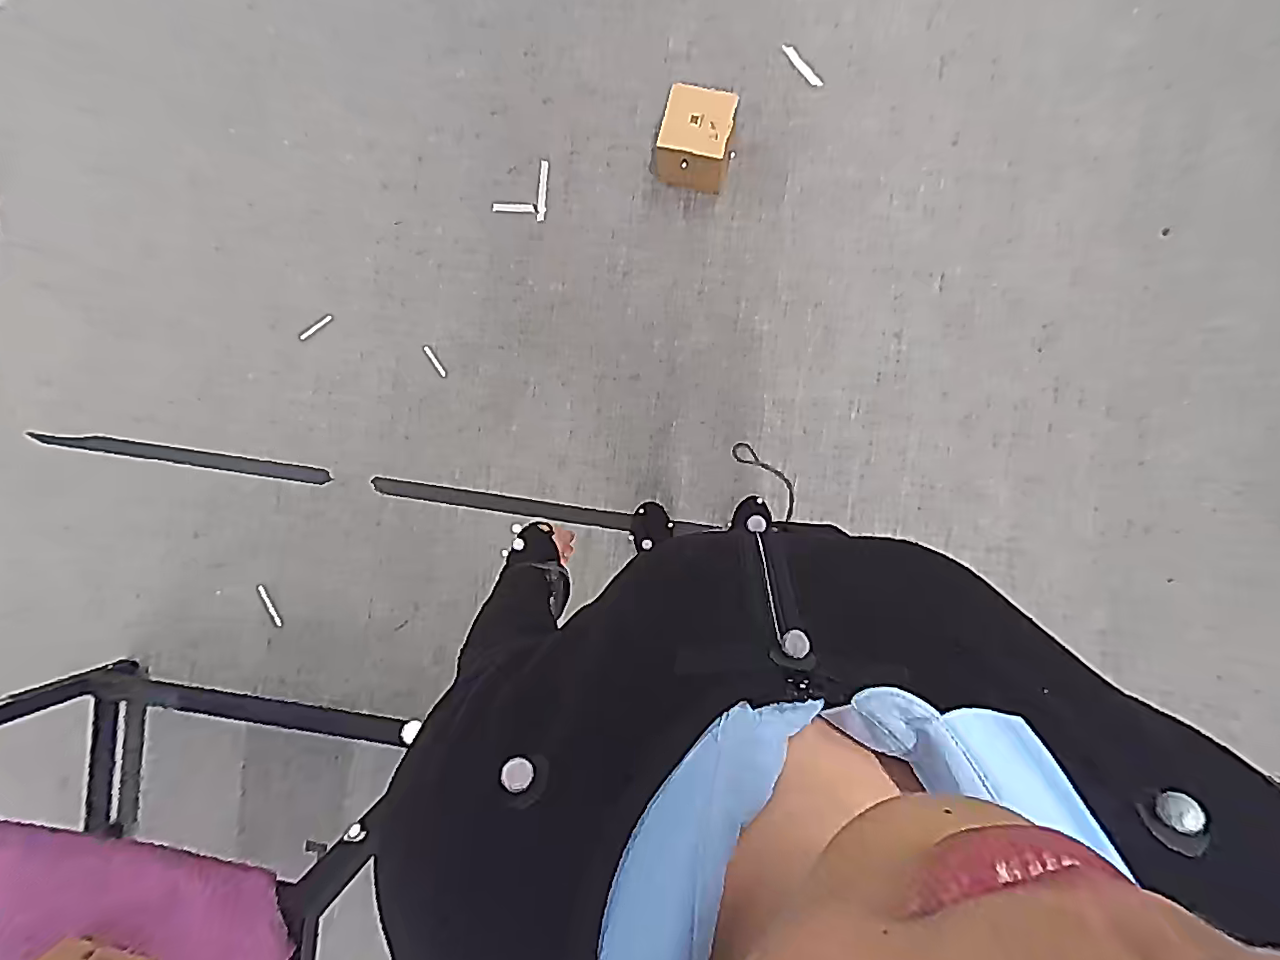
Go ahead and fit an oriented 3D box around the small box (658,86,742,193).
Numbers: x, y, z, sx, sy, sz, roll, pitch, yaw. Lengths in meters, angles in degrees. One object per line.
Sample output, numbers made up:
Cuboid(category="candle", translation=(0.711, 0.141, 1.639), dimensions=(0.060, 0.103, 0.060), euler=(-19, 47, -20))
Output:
Cuboid(category="small box", translation=(0.159, -0.894, 1.435), dimensions=(0.179, 0.176, 0.168), euler=(16, 92, 6))
